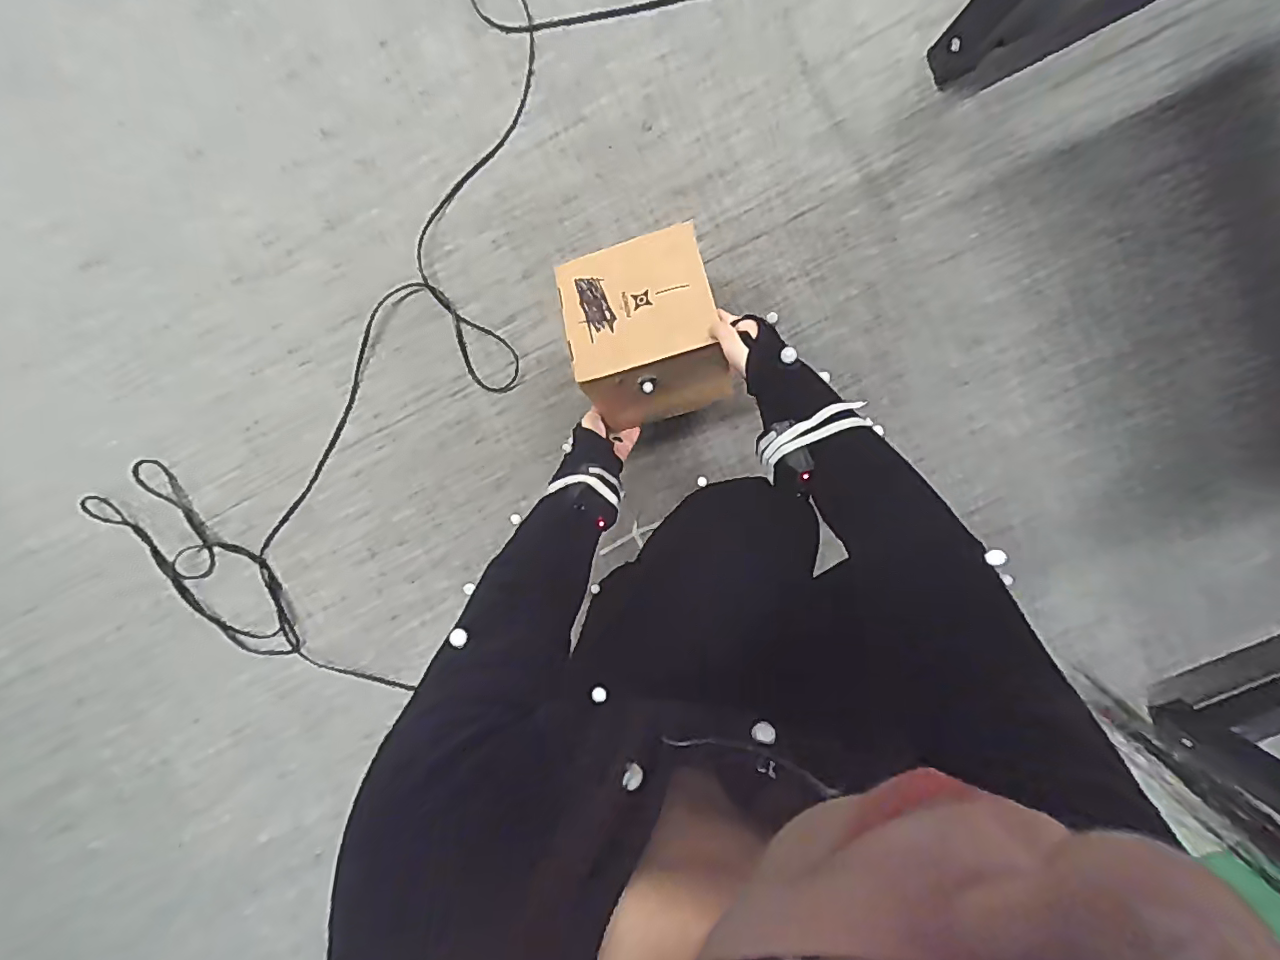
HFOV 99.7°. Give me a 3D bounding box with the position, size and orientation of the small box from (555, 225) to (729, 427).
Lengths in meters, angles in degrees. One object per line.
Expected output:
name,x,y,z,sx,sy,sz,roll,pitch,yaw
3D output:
small box,0.010,-0.186,0.705,0.179,0.176,0.168,-15,73,8
